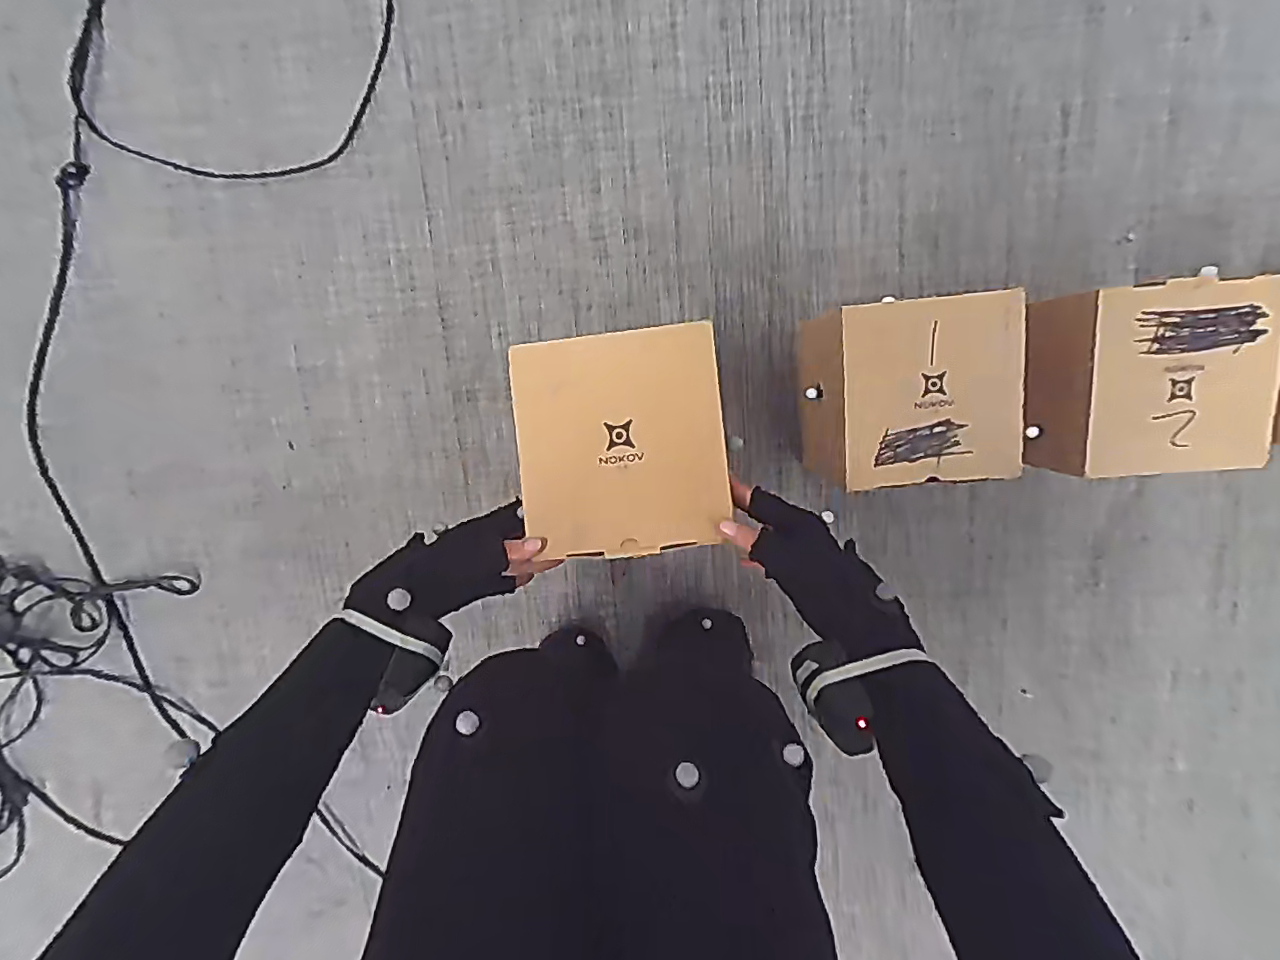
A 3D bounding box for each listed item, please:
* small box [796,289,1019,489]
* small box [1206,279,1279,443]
[{"bbox_3d":[0.269,-0.094,0.581,0.168,0.176,0.179,-4,98,4],"label":"small box"},{"bbox_3d":[0.748,-0.125,0.554,0.168,0.176,0.179,-4,99,3],"label":"small box"}]
